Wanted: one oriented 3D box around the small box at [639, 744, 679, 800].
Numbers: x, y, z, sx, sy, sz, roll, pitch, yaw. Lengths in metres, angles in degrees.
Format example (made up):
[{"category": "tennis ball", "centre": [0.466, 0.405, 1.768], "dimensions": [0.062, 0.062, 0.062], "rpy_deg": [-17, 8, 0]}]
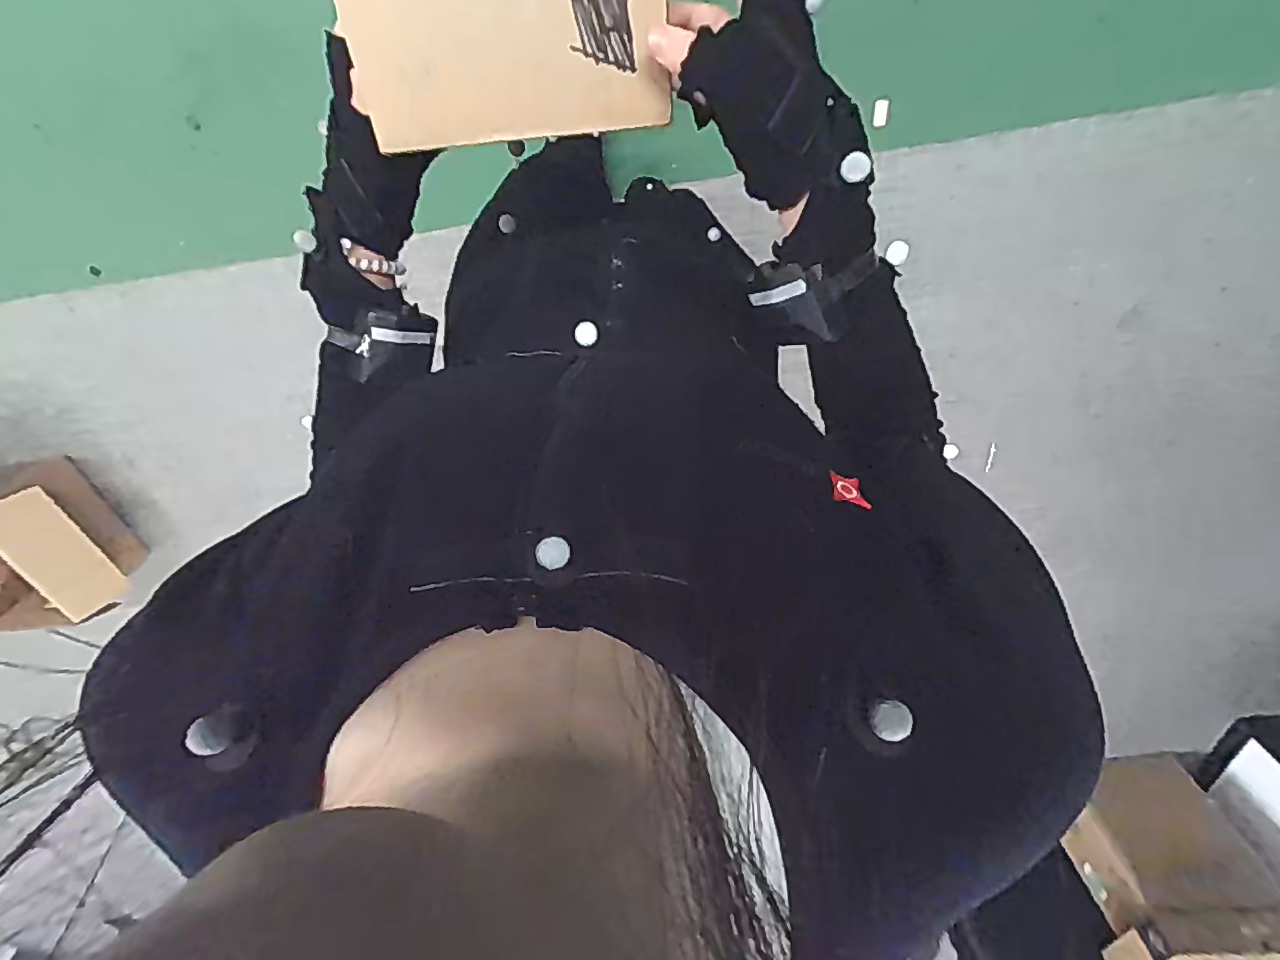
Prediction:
[{"category": "small box", "centre": [0.088, 1.361, 2.522], "dimensions": [0.168, 0.176, 0.179], "rpy_deg": [-10, 124, 5]}]
